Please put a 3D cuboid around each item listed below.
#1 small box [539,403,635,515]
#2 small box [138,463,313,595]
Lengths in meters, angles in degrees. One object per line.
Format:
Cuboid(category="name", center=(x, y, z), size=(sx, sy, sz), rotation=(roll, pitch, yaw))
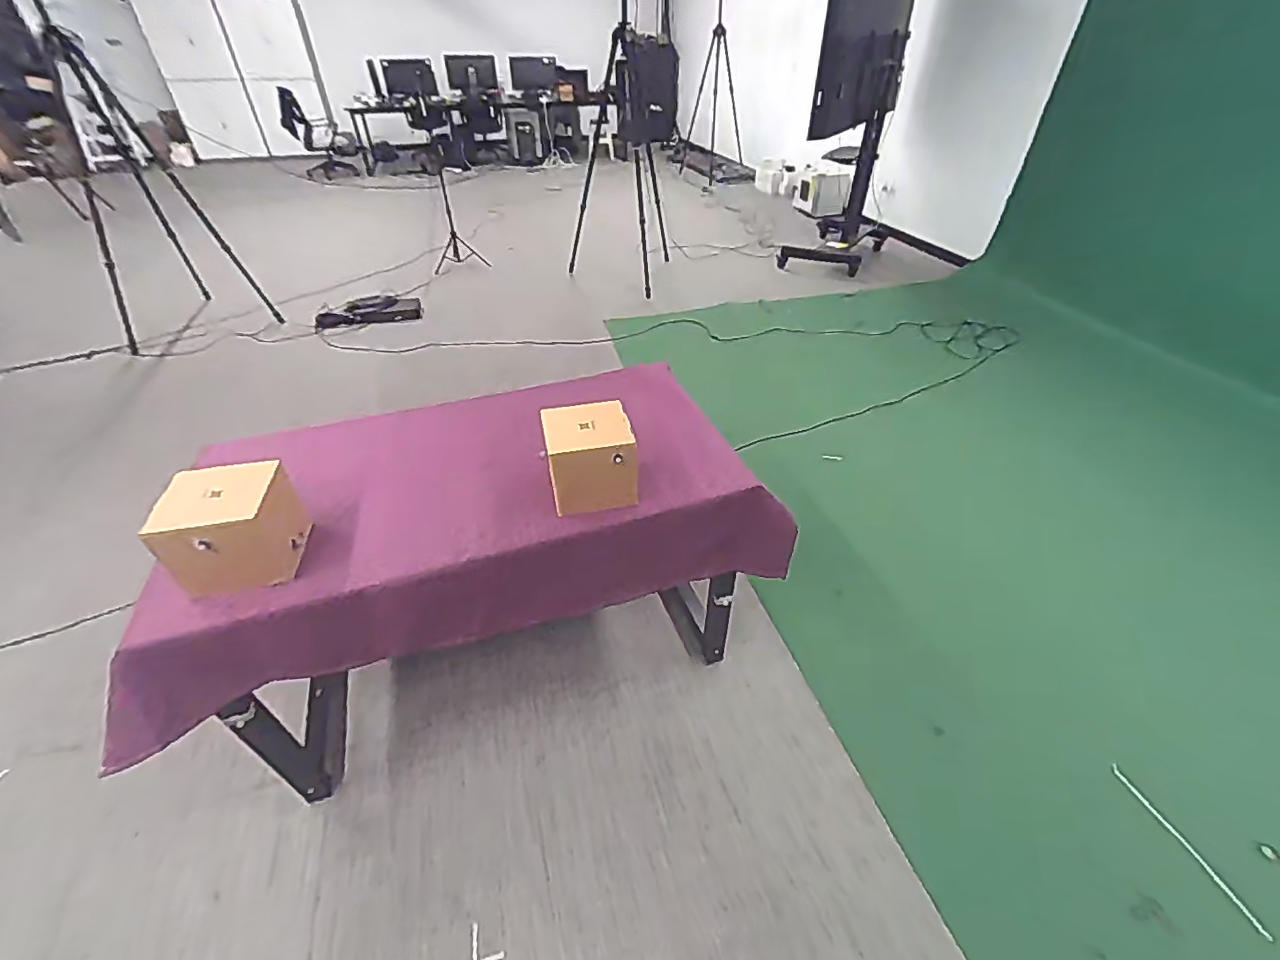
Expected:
Cuboid(category="small box", center=(-0.111, -0.044, 1.153), size=(0.179, 0.176, 0.168), rotation=(-9, 41, -10))
Cuboid(category="small box", center=(-0.743, 0.092, 0.994), size=(0.179, 0.176, 0.168), rotation=(-8, 41, -10))
